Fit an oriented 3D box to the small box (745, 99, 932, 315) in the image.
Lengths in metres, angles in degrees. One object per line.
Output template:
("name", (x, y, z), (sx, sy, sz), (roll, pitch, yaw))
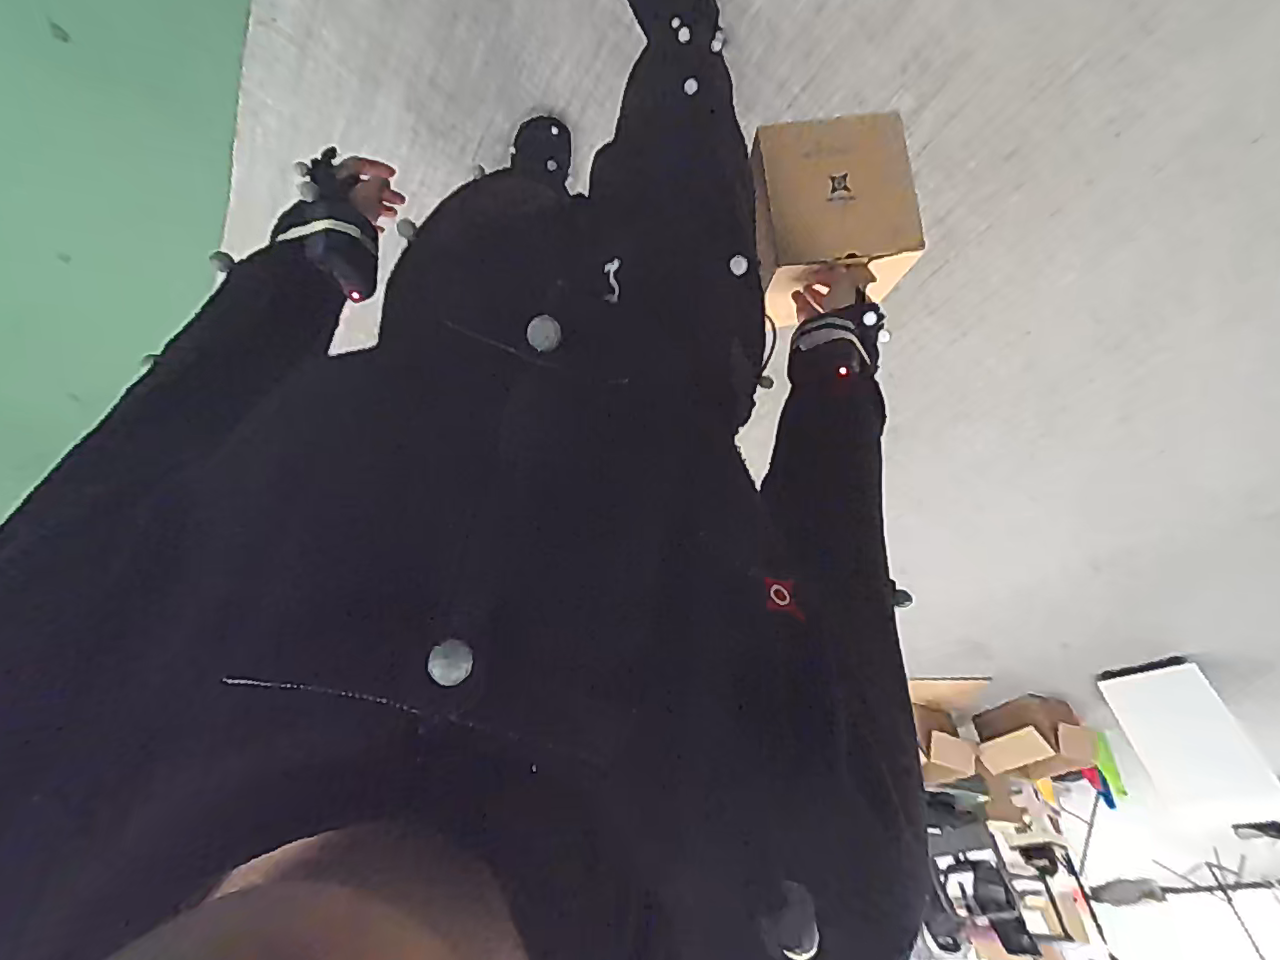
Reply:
("small box", (0.230, -0.318, 0.669), (0.168, 0.179, 0.176), (-6, 173, 2))
